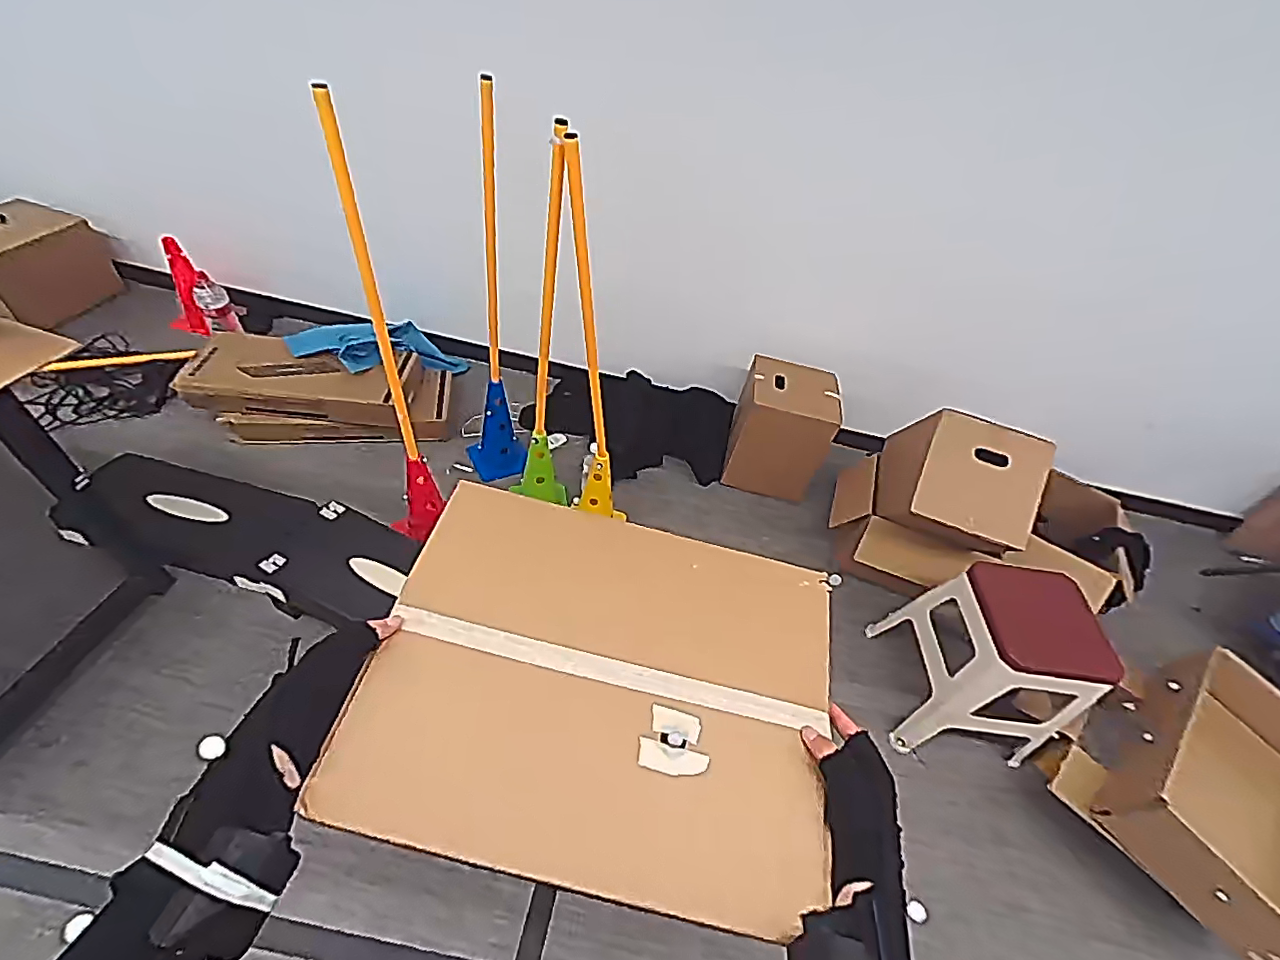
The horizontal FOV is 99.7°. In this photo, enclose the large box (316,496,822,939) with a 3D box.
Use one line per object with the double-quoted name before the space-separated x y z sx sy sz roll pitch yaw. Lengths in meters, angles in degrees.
"large box" -0.050 0.267 0.615 0.408 0.320 0.320 15 54 0
